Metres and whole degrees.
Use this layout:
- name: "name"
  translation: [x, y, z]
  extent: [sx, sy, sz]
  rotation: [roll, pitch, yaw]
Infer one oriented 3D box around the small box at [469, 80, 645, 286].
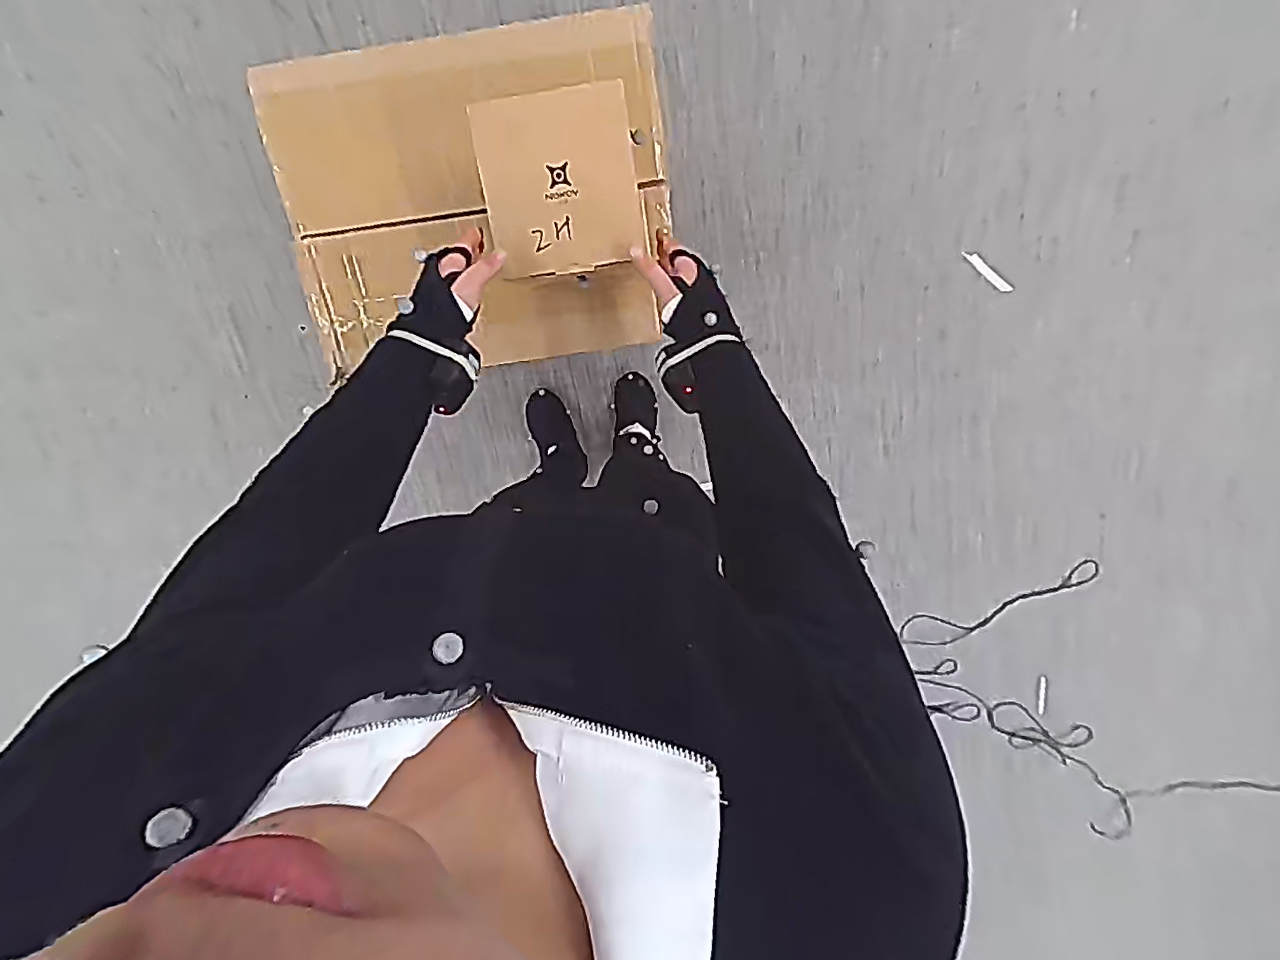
- name: "small box"
  translation: [-0.088, -0.340, 0.655]
  extent: [0.168, 0.176, 0.179]
  rotation: [-8, 108, 2]
